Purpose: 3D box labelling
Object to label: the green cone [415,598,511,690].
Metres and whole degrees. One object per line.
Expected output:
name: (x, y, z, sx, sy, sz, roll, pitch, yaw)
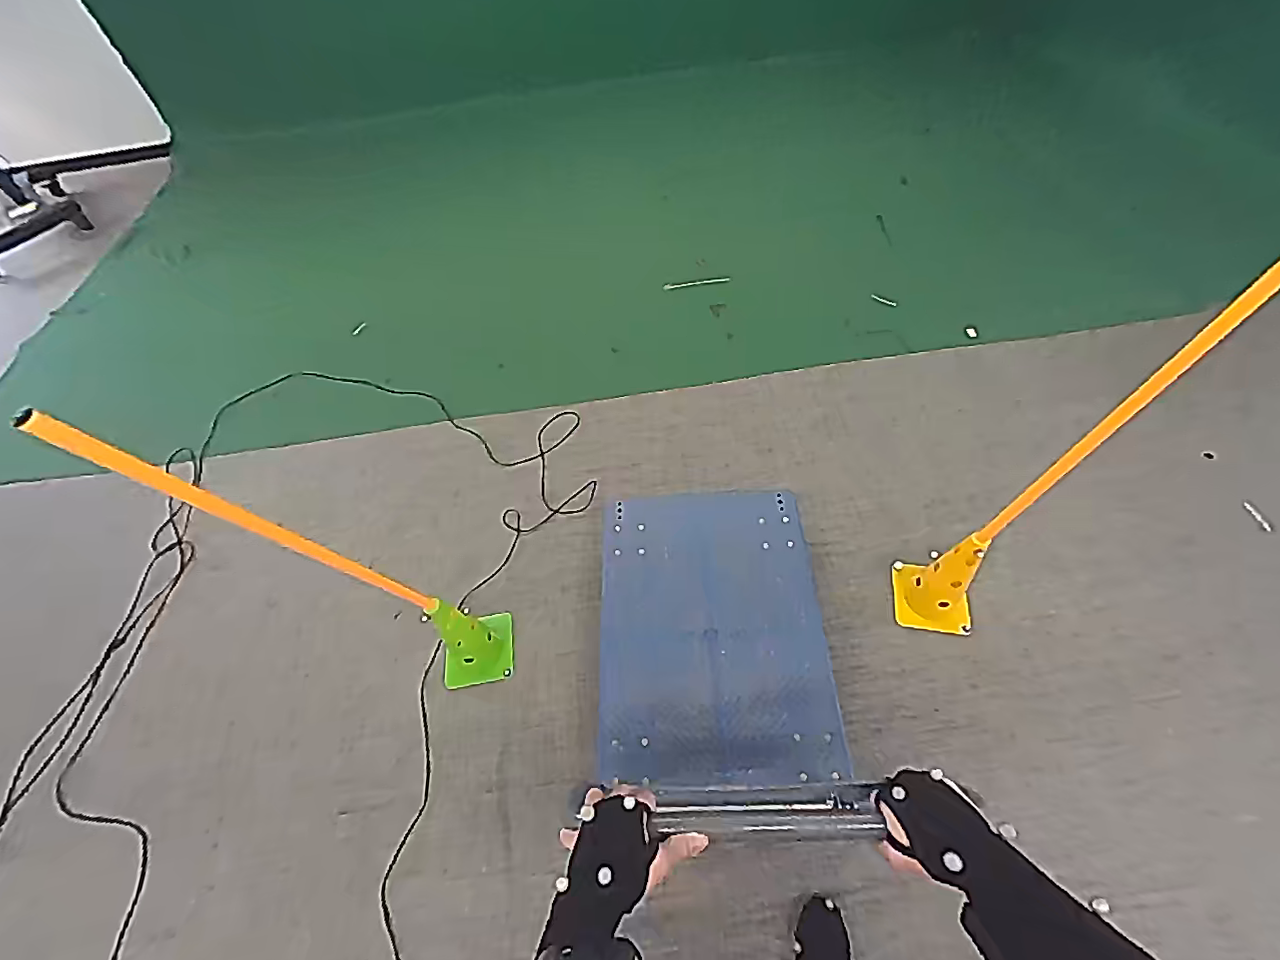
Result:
green cone: (-0.500, 0.401, 1.450, 0.202, 0.368, 0.200, -12, 54, 0)
